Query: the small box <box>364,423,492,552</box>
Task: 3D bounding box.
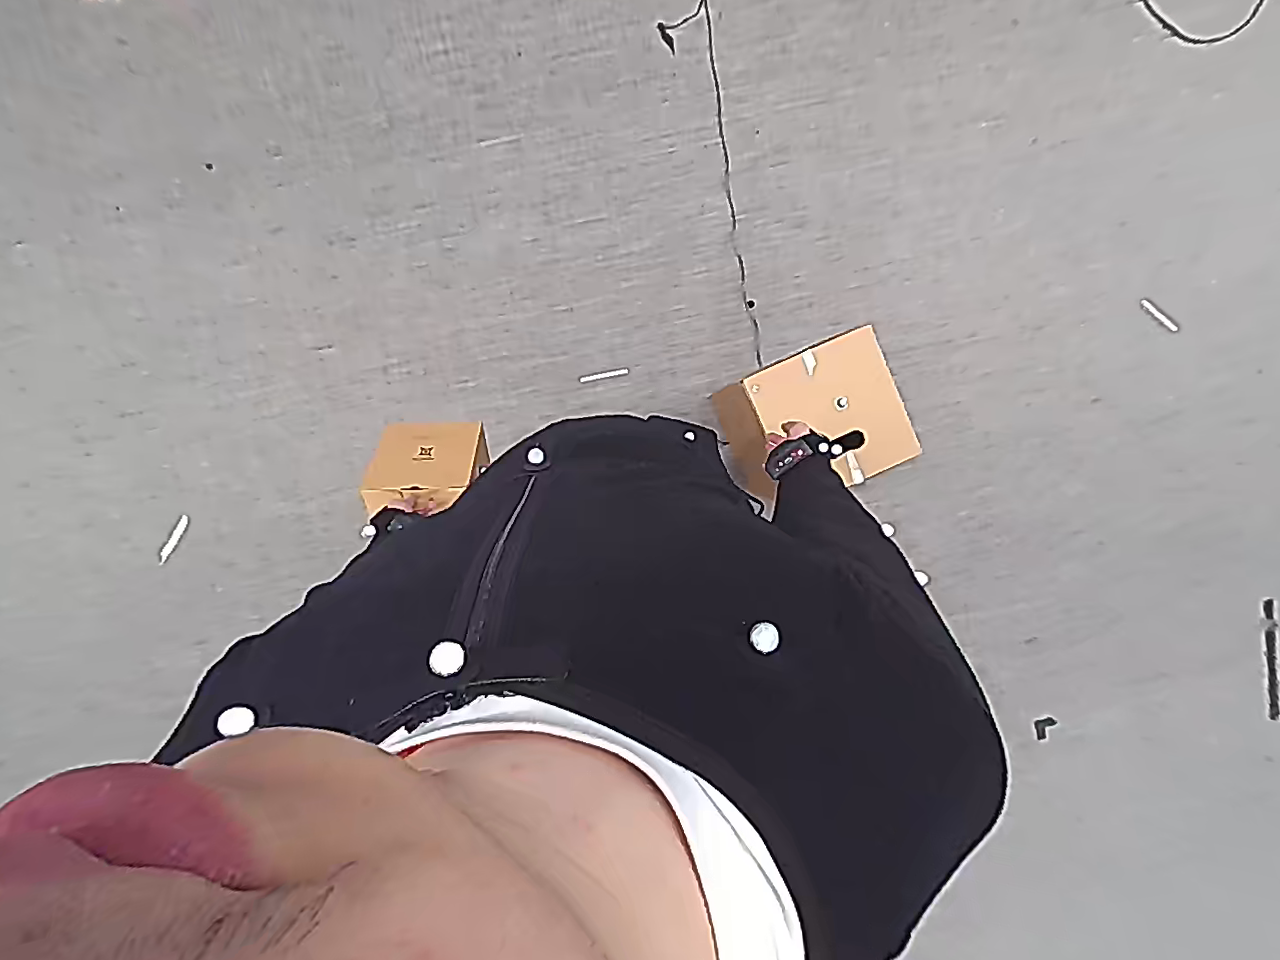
[{"bbox_3d":[-0.364,0.017,0.968,0.168,0.179,0.176,-1,133,-6],"label":"small box"}]
